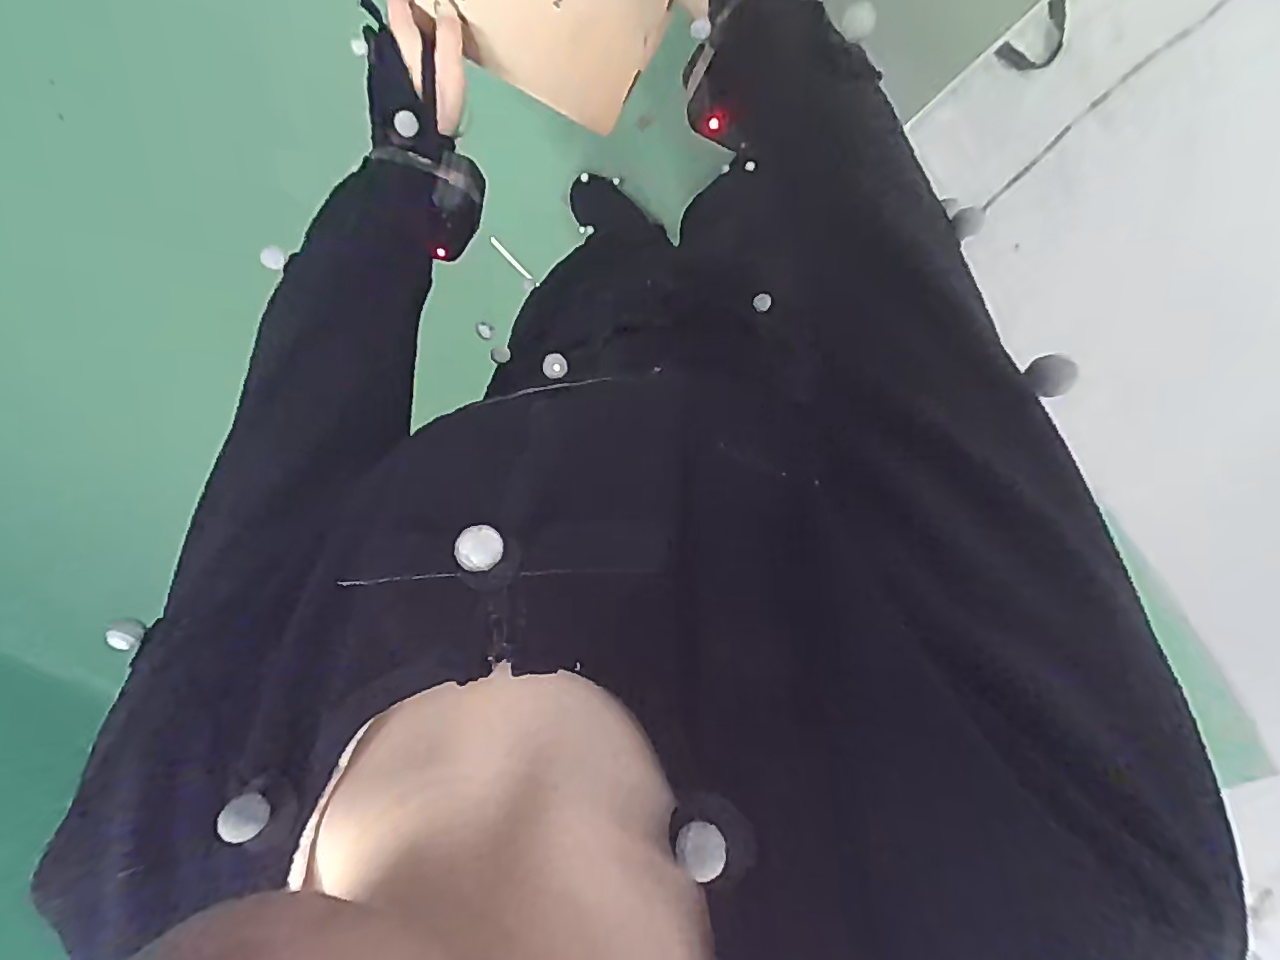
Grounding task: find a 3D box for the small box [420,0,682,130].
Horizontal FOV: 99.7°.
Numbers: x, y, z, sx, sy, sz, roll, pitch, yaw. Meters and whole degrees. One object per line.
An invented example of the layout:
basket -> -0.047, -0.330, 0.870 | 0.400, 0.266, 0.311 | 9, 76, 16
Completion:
small box -> -0.058, -0.445, 0.444 | 0.179, 0.176, 0.168 | 18, 139, -24
